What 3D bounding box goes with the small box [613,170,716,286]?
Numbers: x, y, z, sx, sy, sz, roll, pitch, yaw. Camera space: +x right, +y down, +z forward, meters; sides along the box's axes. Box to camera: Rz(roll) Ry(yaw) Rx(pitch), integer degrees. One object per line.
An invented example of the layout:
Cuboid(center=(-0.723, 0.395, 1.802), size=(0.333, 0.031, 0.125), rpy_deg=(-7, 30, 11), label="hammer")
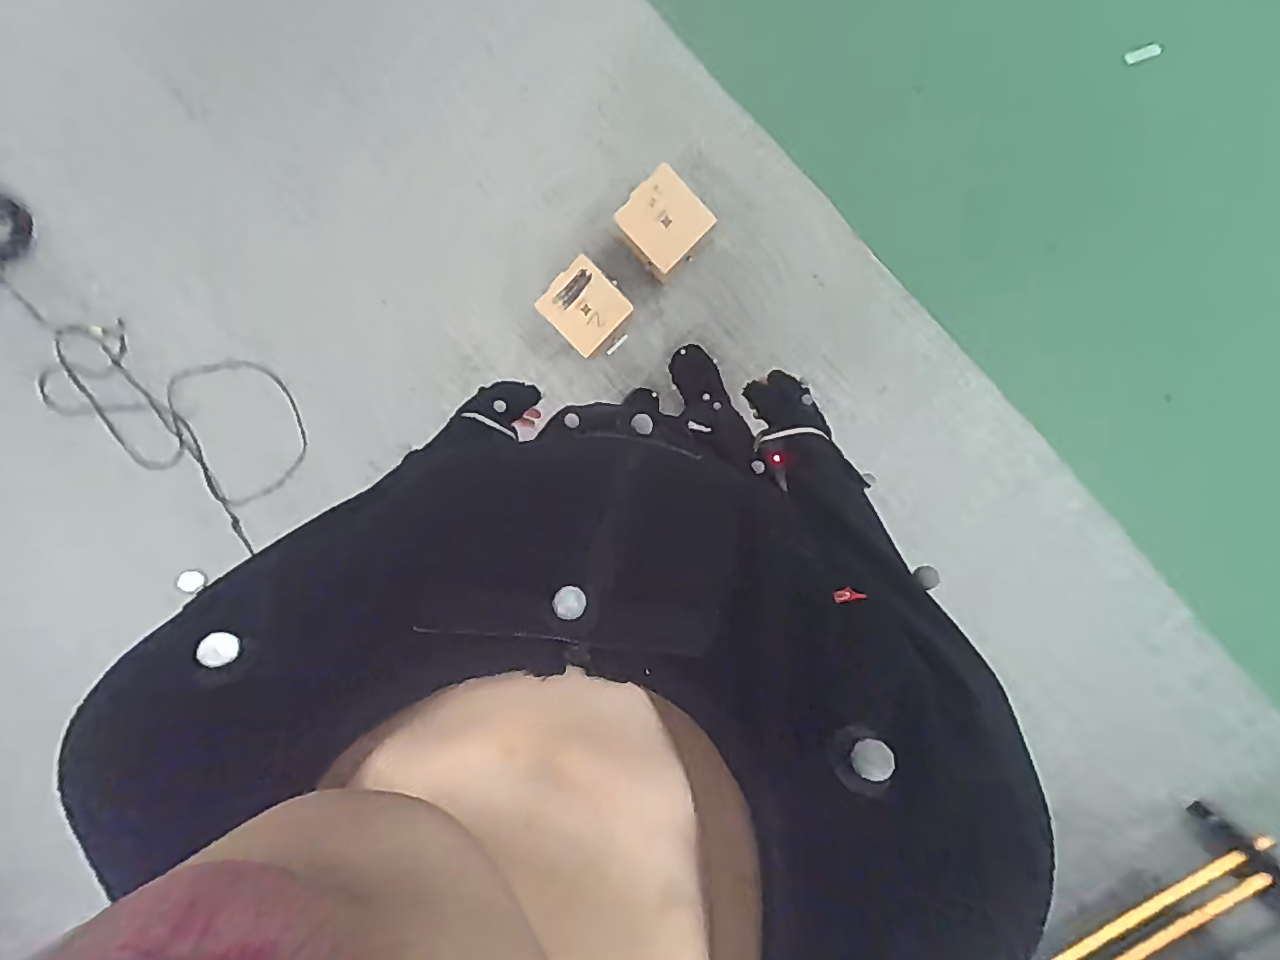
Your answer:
Cuboid(center=(0.059, -0.581, 1.280), size=(0.168, 0.176, 0.179), rpy_deg=(-44, 95, 9), label="small box")
